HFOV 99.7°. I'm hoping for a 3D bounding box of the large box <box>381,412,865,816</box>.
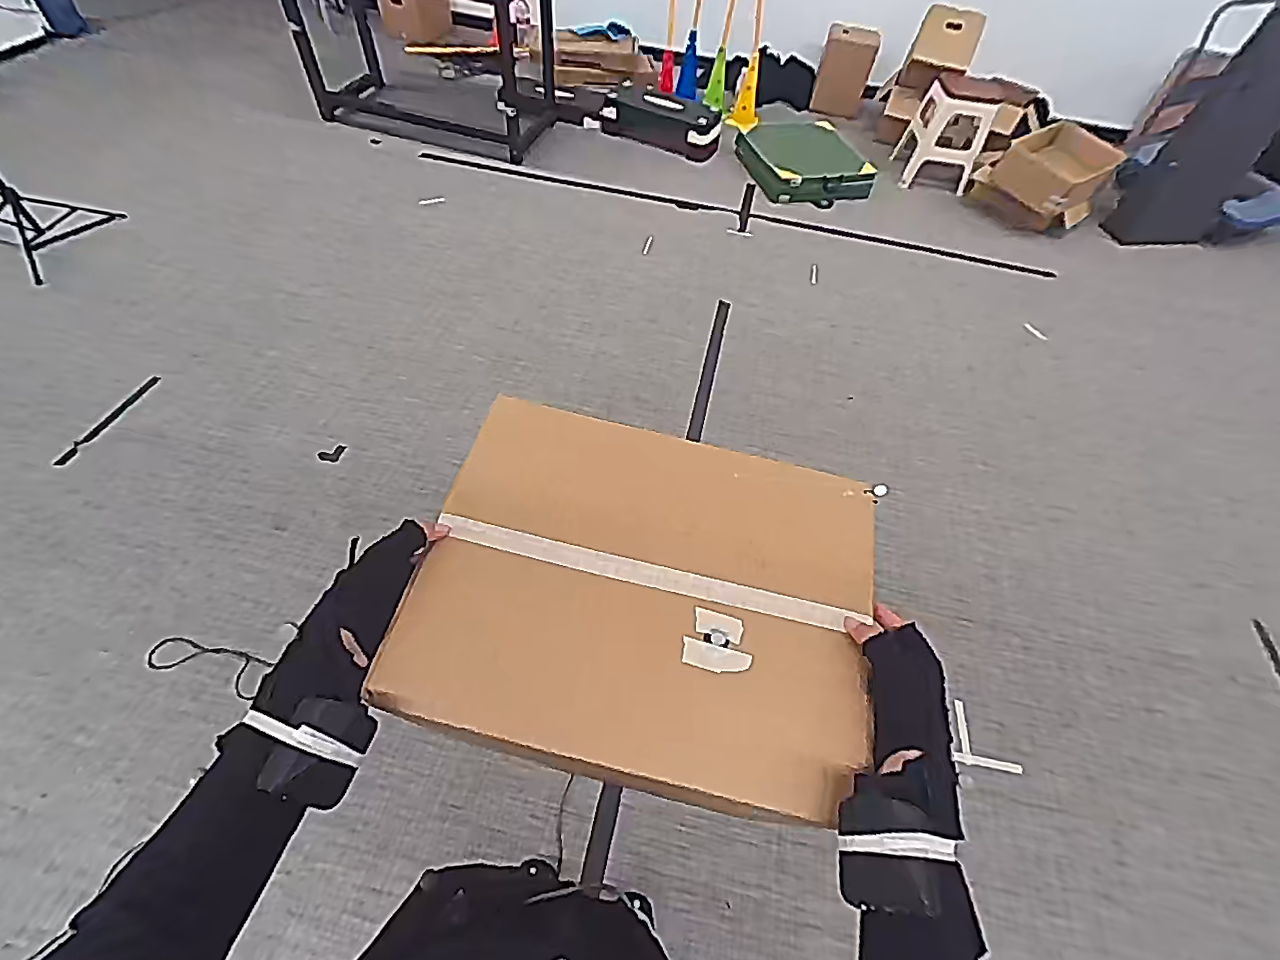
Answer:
[{"bbox_3d":[-0.003,0.169,0.631,0.408,0.320,0.320,14,60,1],"label":"large box"}]
